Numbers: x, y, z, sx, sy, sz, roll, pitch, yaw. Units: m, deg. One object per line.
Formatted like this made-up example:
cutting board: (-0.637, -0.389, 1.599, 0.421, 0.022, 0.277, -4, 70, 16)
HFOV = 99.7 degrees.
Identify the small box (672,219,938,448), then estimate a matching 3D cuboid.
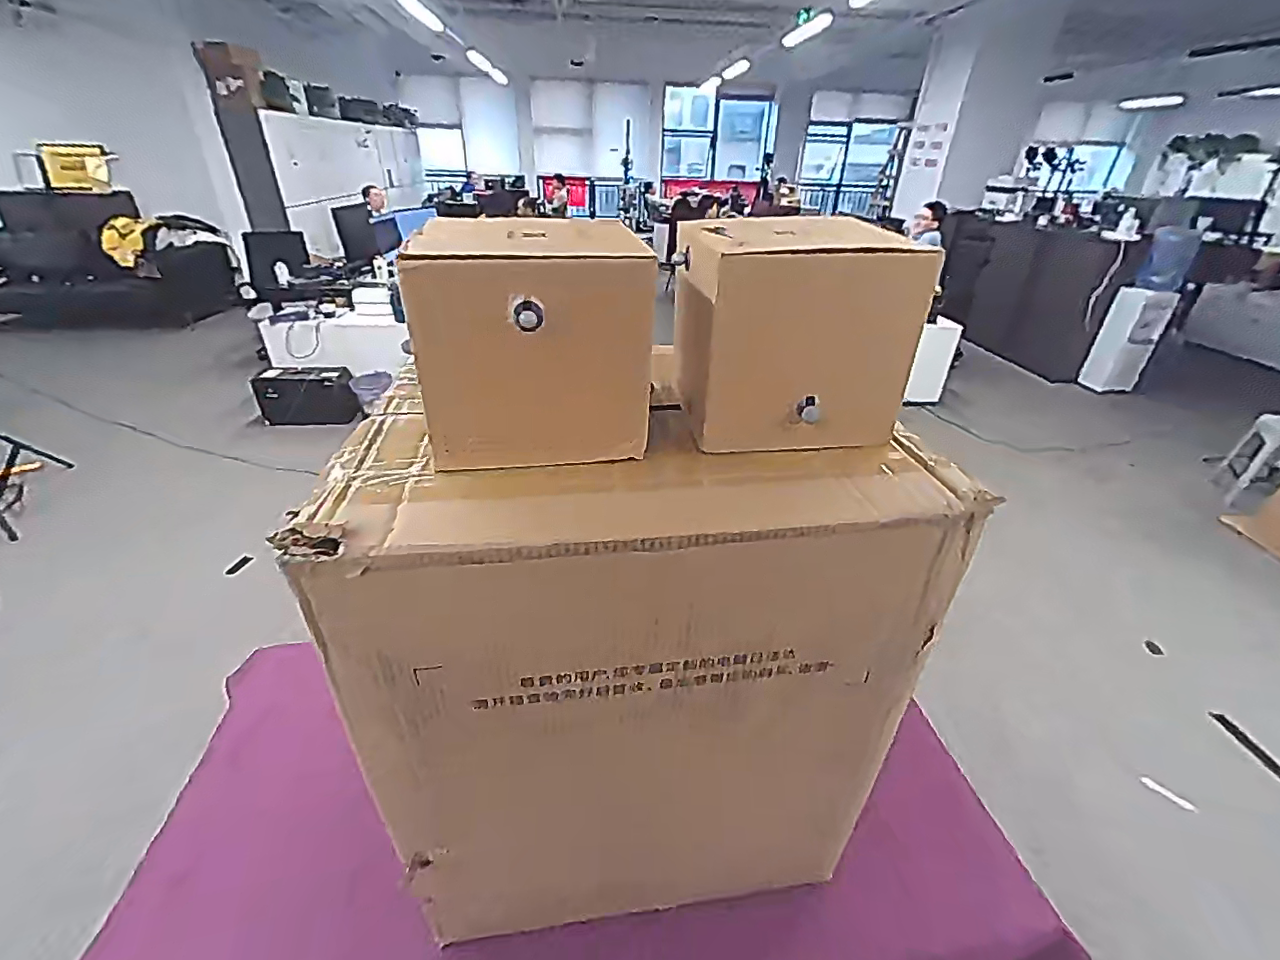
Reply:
small box: (0.131, -0.141, 0.509, 0.179, 0.176, 0.168, -3, 32, -7)
